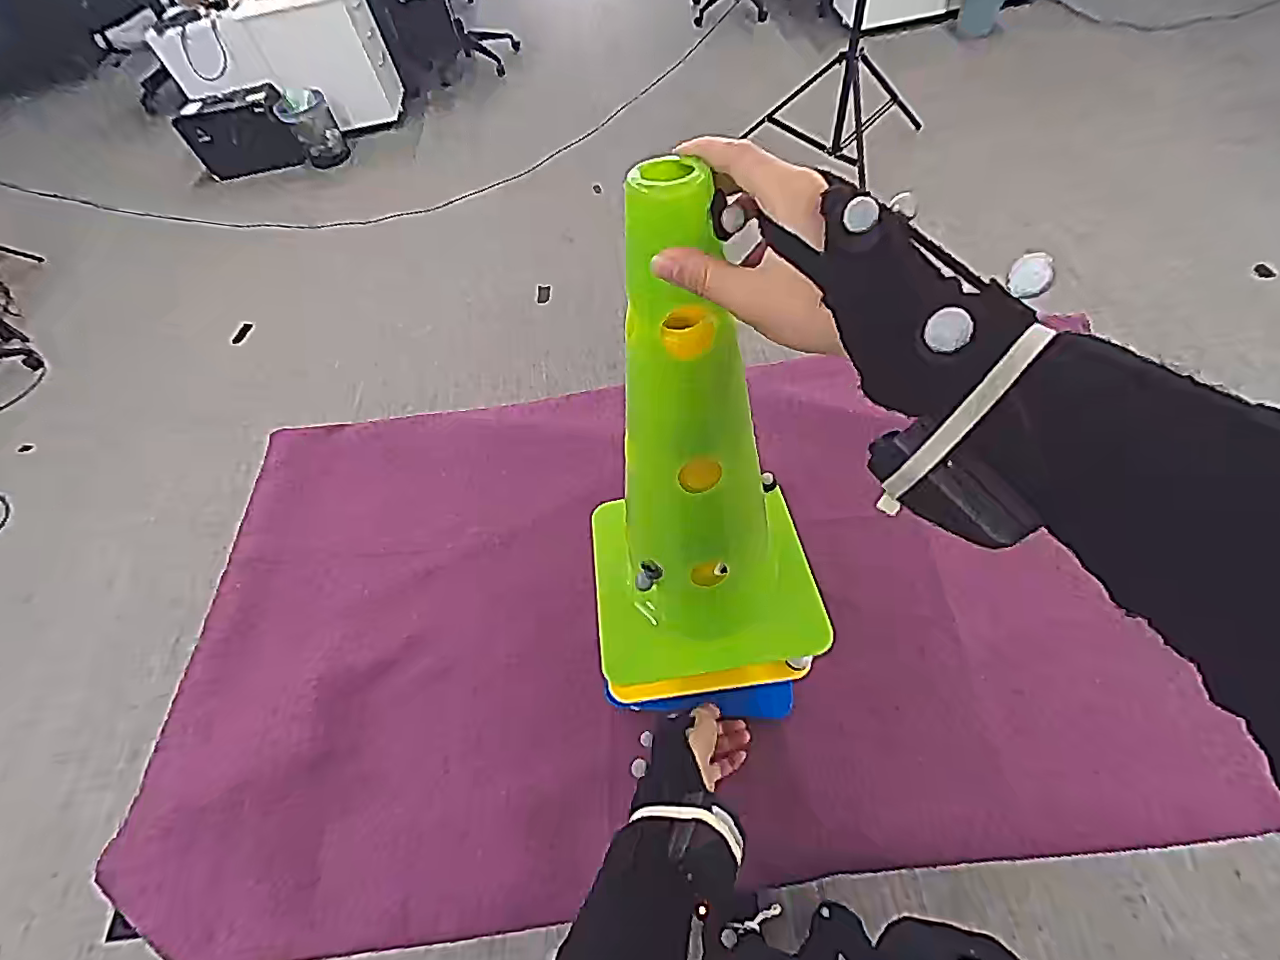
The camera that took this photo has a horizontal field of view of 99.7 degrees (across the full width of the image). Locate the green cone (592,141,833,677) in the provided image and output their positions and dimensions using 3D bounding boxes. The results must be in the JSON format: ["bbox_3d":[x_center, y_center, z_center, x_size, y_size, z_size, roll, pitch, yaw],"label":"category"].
[{"bbox_3d":[0.033,-0.033,0.380,0.200,0.368,0.202,-11,50,1],"label":"green cone"}]
